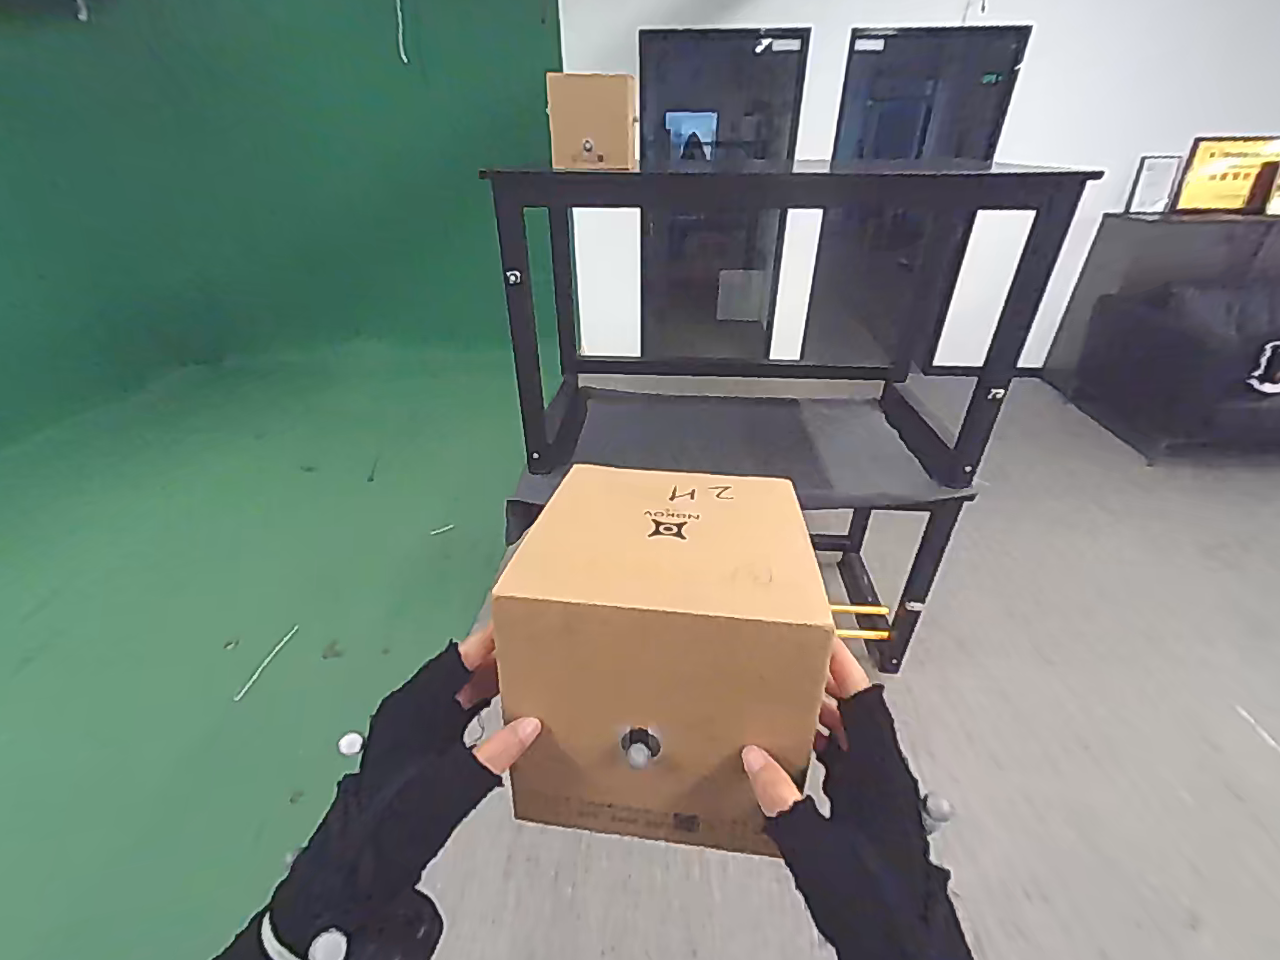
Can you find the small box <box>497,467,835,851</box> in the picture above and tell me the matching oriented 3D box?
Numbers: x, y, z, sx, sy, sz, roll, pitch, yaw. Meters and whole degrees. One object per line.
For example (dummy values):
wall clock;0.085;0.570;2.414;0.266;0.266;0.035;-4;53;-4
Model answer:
small box;0.020;0.105;0.362;0.168;0.176;0.179;5;23;6
